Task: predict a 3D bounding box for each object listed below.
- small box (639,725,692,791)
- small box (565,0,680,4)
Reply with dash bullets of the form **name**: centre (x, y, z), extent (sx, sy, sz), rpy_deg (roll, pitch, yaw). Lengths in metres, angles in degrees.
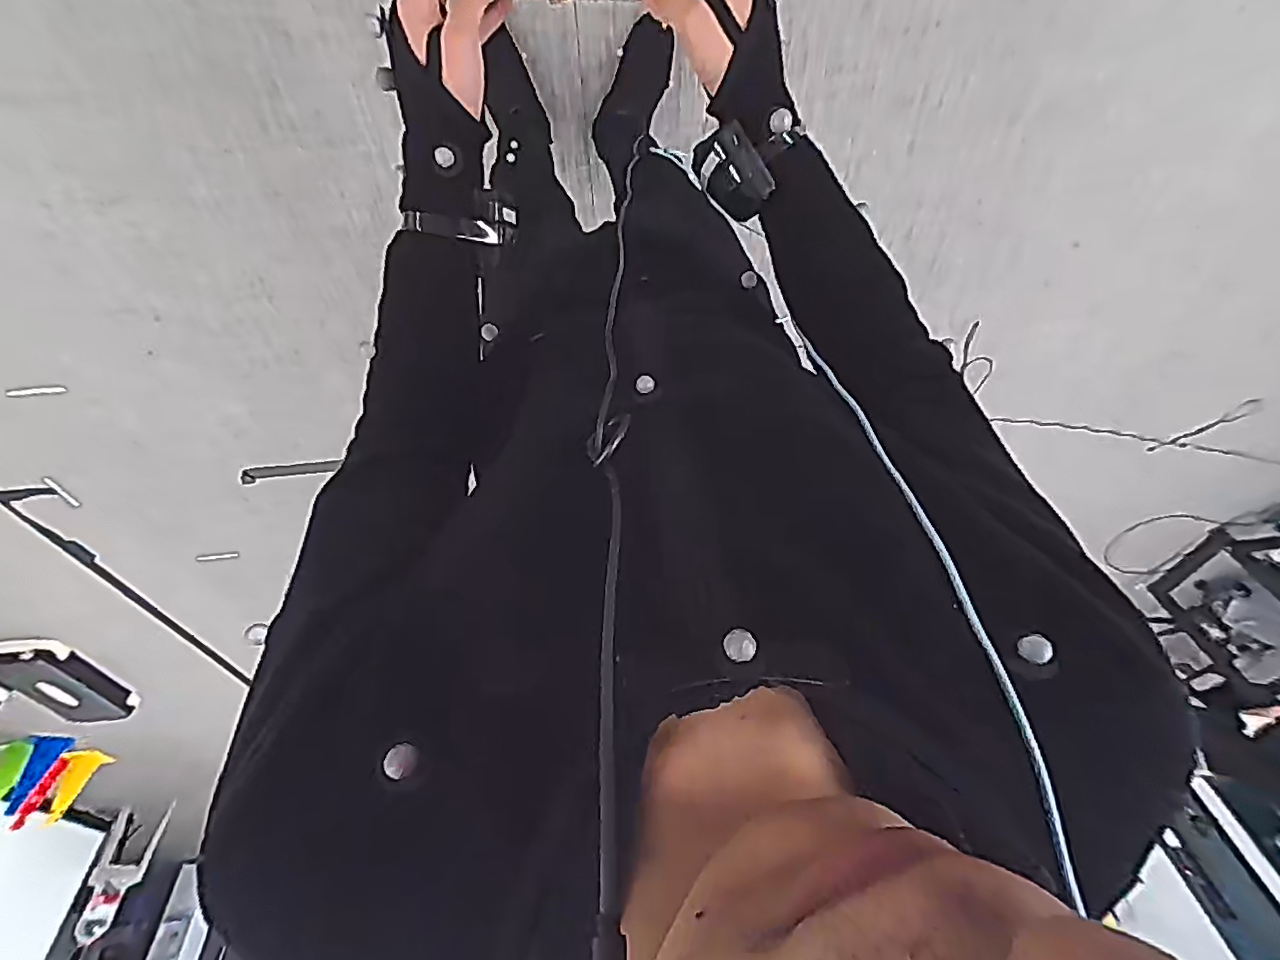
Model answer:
- **small box**: centre (0.087, 1.008, 1.972), extent (0.168, 0.176, 0.179), rpy_deg (-4, 136, -6)
- **small box**: centre (-0.060, -0.463, 0.389), extent (0.168, 0.176, 0.179), rpy_deg (-8, 131, -13)
